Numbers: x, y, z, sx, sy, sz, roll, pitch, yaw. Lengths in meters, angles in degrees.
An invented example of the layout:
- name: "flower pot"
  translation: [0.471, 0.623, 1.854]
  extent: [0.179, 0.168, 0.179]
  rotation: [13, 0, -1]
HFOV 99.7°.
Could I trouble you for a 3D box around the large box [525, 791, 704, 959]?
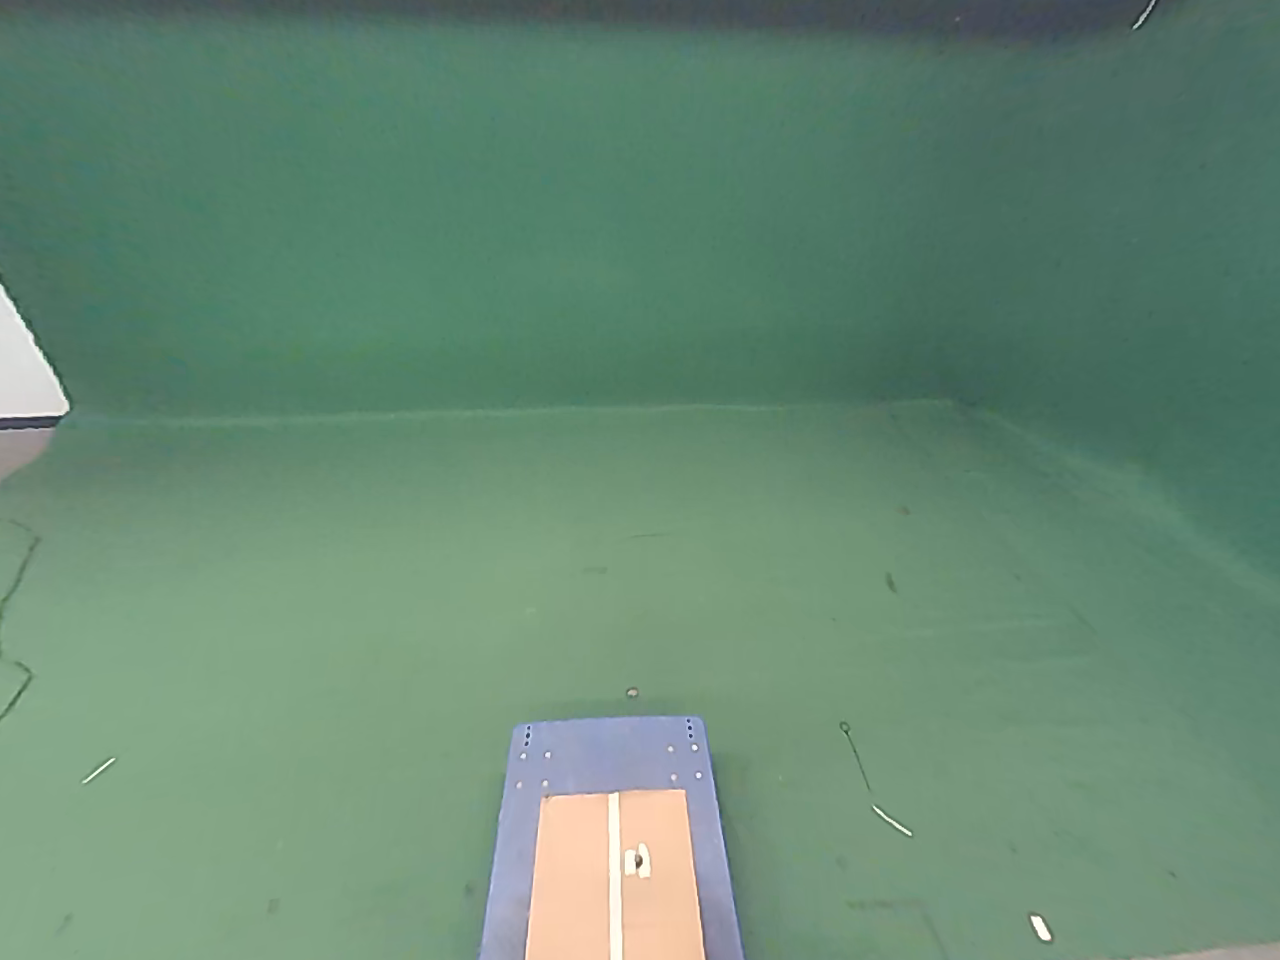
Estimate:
- name: "large box"
  translation: [-0.048, 0.918, 1.087]
  extent: [0.320, 0.320, 0.408]
  rotation: [-1, 33, -3]
